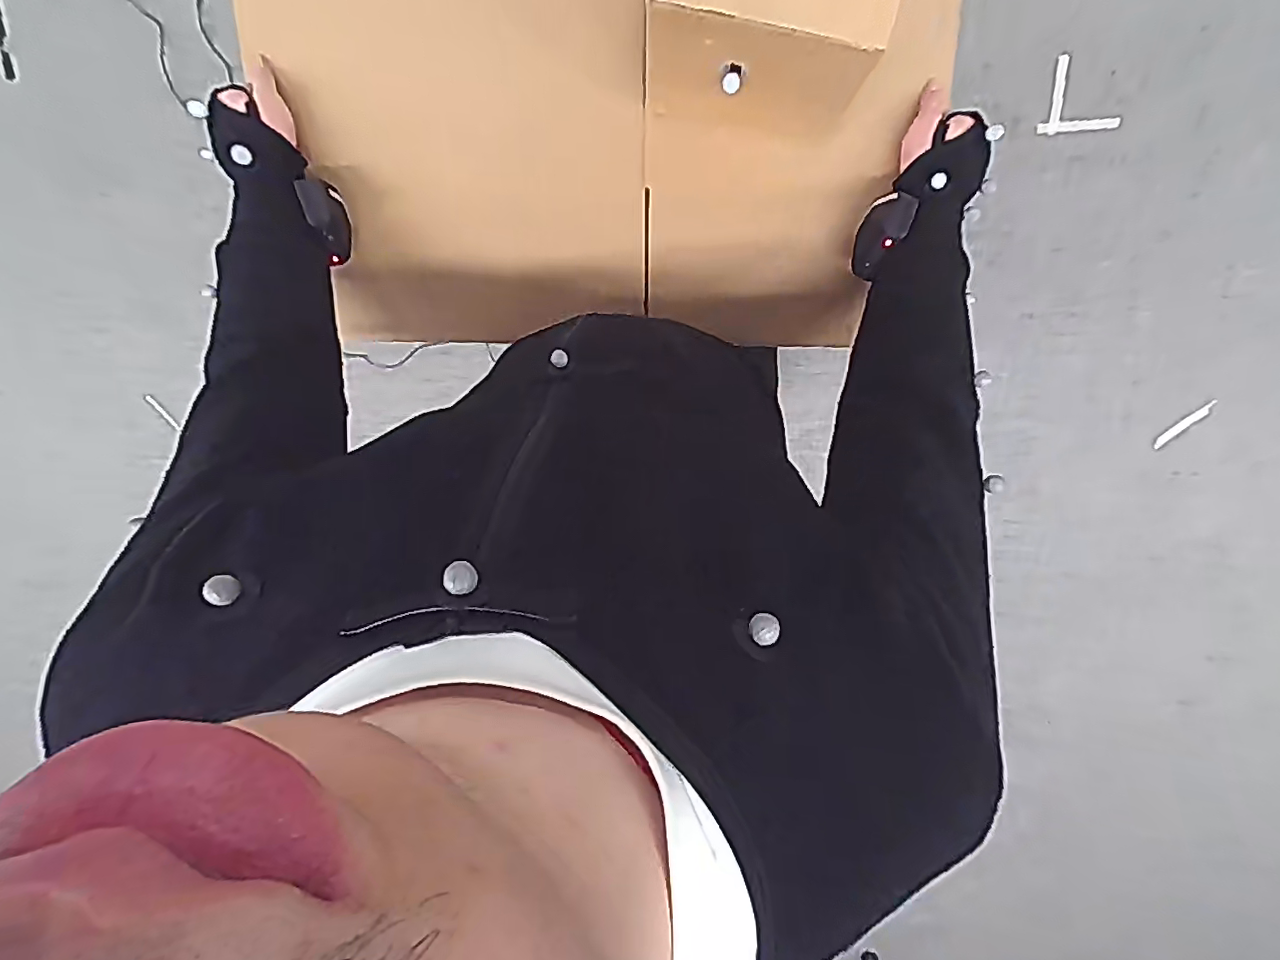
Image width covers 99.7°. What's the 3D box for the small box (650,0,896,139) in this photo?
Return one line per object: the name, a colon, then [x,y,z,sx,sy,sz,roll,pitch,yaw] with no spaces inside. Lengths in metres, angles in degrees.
small box: [0.112,-0.418,0.454,0.179,0.176,0.168,12,102,1]
